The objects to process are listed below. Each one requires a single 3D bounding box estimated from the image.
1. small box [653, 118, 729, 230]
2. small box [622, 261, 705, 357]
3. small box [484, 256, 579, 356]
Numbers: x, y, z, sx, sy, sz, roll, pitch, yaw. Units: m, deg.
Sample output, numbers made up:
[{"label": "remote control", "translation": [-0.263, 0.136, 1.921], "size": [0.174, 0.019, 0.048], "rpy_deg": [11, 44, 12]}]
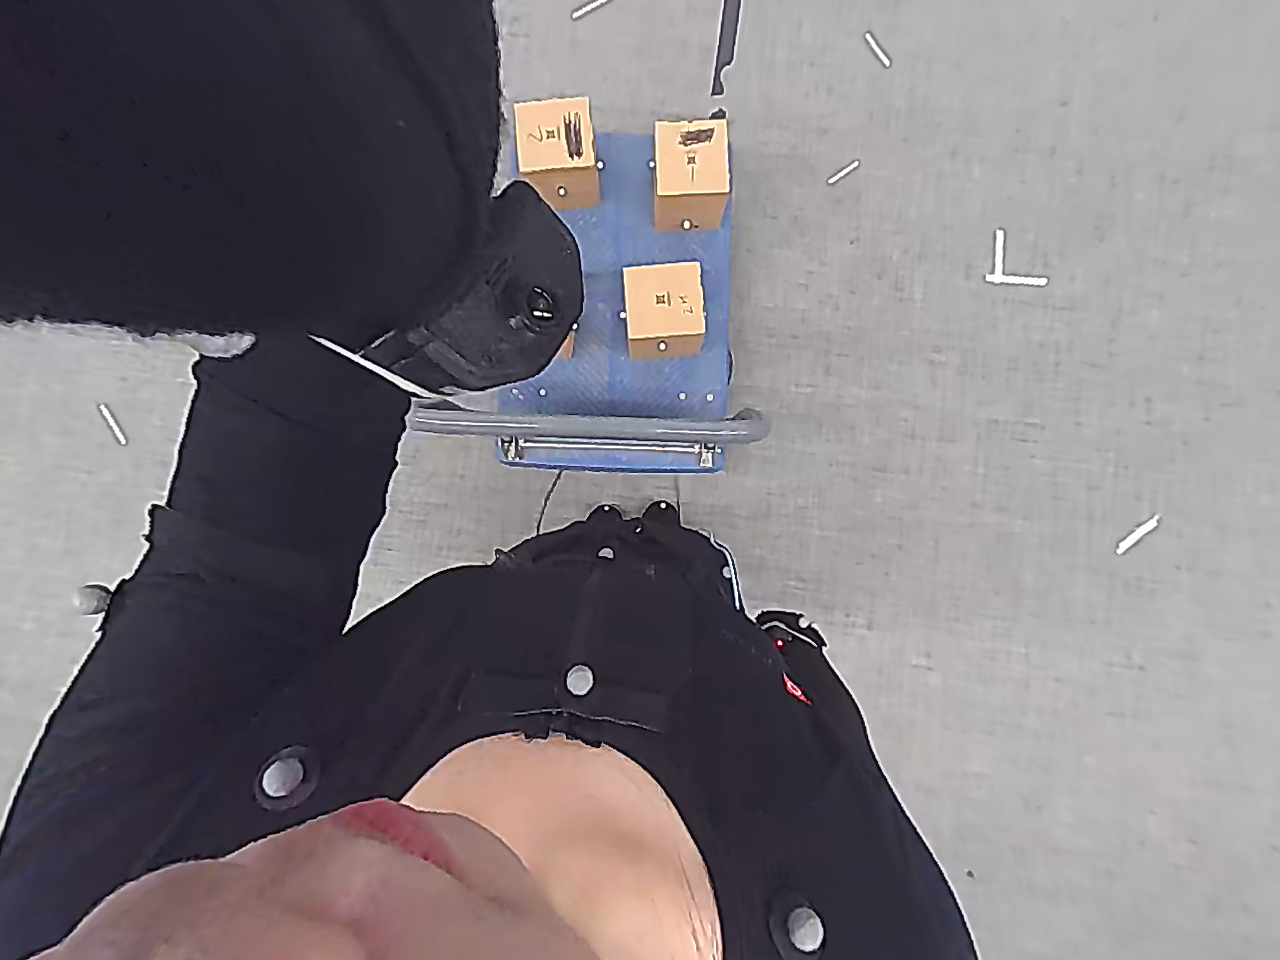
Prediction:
[{"label": "small box", "translation": [0.117, -0.727, 1.296], "size": [0.168, 0.176, 0.179], "rpy_deg": [-2, 87, 1]}, {"label": "small box", "translation": [0.054, -0.395, 1.277], "size": [0.179, 0.176, 0.168], "rpy_deg": [-4, 87, 1]}, {"label": "small box", "translation": [-0.250, -0.405, 1.282], "size": [0.179, 0.176, 0.168], "rpy_deg": [8, 86, 0]}]
